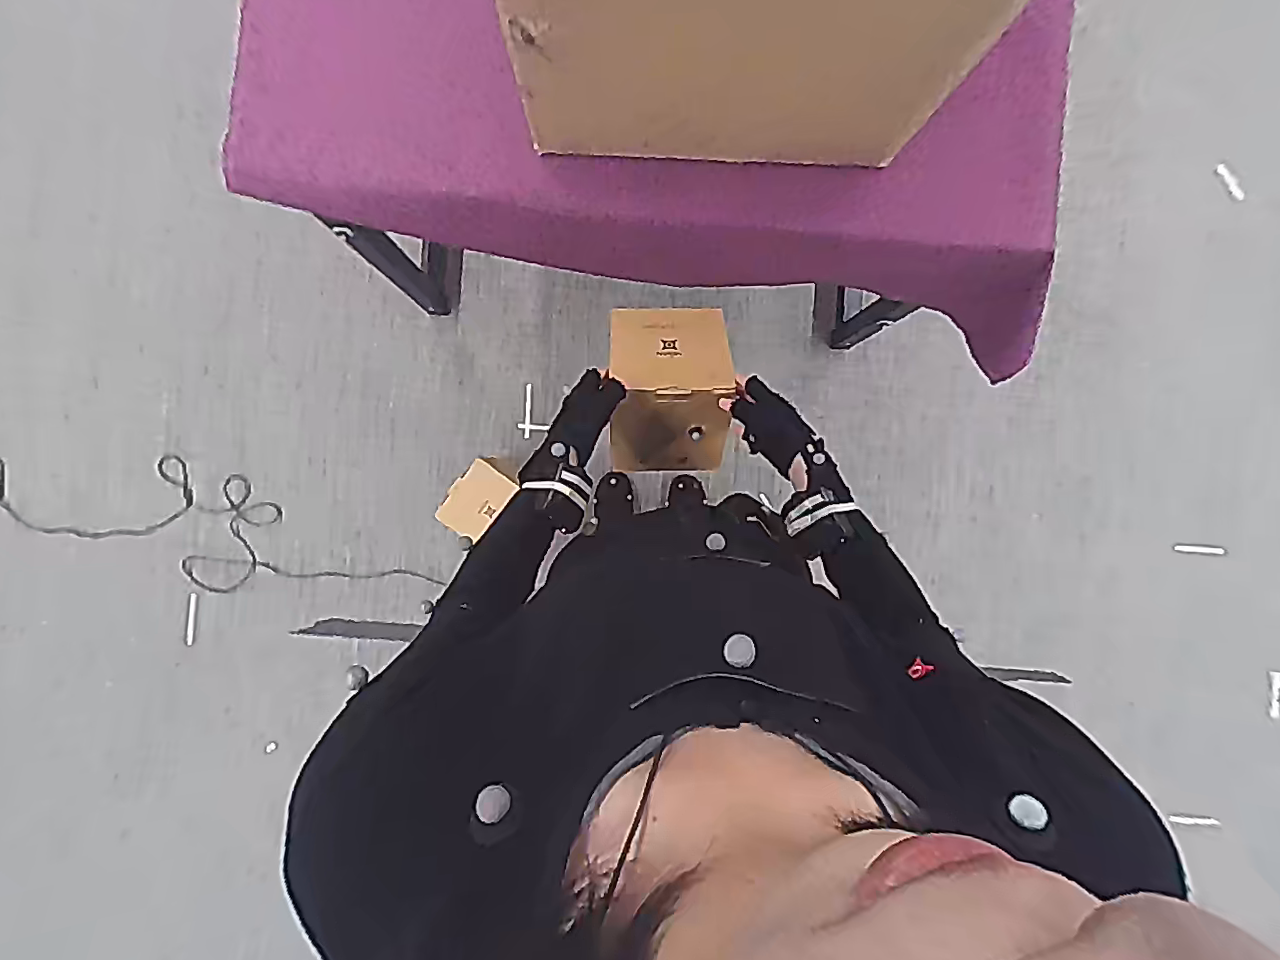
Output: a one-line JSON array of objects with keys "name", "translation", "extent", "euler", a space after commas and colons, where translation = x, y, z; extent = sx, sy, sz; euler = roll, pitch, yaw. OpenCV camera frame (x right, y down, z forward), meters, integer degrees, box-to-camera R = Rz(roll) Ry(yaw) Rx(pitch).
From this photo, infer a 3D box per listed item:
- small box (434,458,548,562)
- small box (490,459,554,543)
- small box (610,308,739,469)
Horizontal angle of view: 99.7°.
[{"name": "small box", "translation": [-0.336, 0.068, 1.257], "extent": [0.179, 0.176, 0.168], "euler": [37, 89, -2]}, {"name": "small box", "translation": [-0.347, 0.064, 1.420], "extent": [0.179, 0.176, 0.168], "euler": [35, 89, -3]}, {"name": "small box", "translation": [0.042, -0.130, 0.790], "extent": [0.168, 0.176, 0.179], "euler": [0, 51, -2]}]
